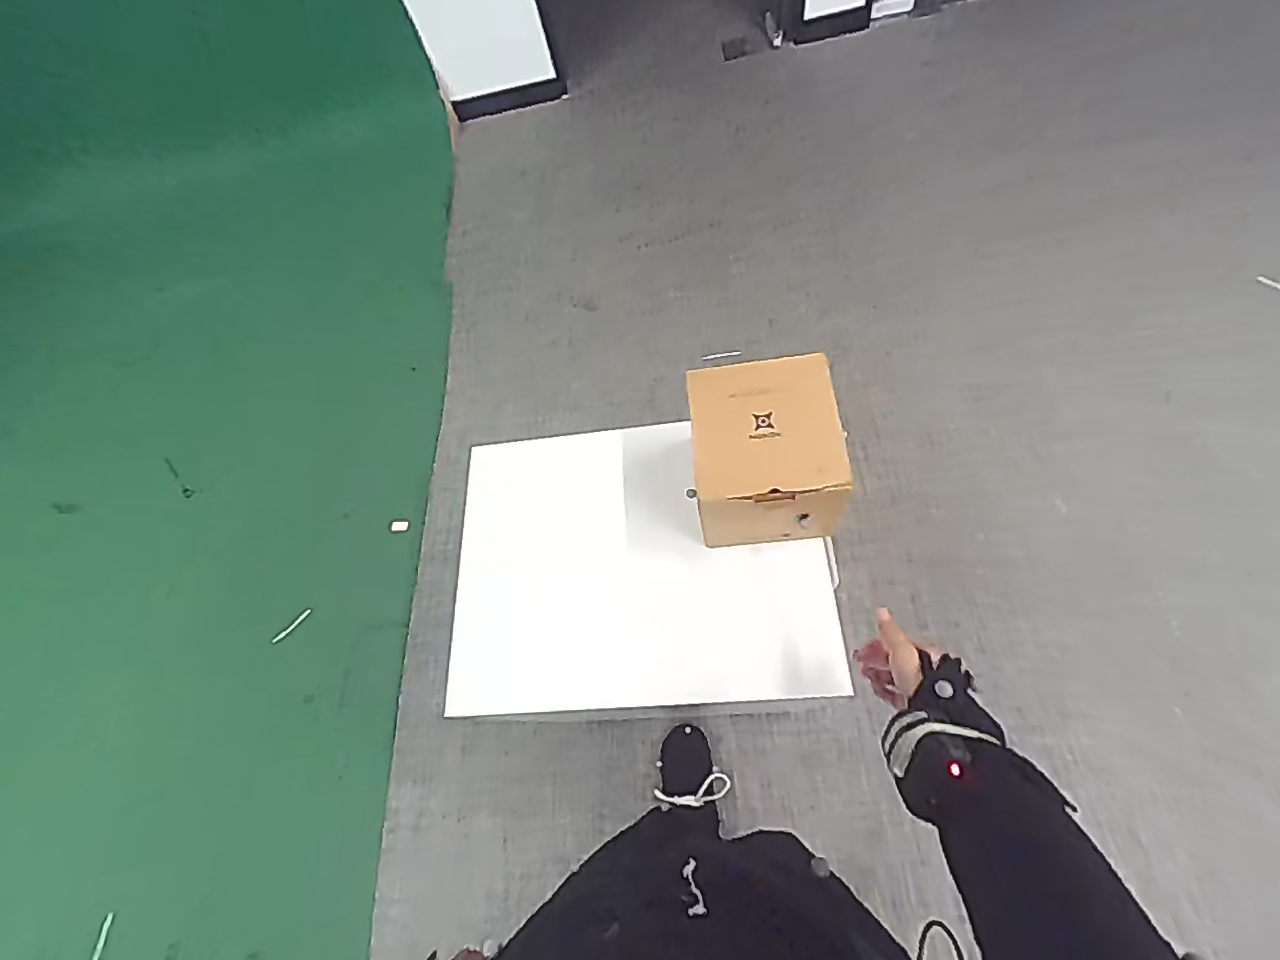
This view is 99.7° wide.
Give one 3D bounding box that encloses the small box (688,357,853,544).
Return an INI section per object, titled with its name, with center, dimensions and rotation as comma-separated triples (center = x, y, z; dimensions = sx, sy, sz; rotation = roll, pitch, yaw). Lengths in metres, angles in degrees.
[small box]
center = 0.154, -0.025, 0.679
dimensions = 0.168, 0.176, 0.179
rotation = -6, 63, 7
